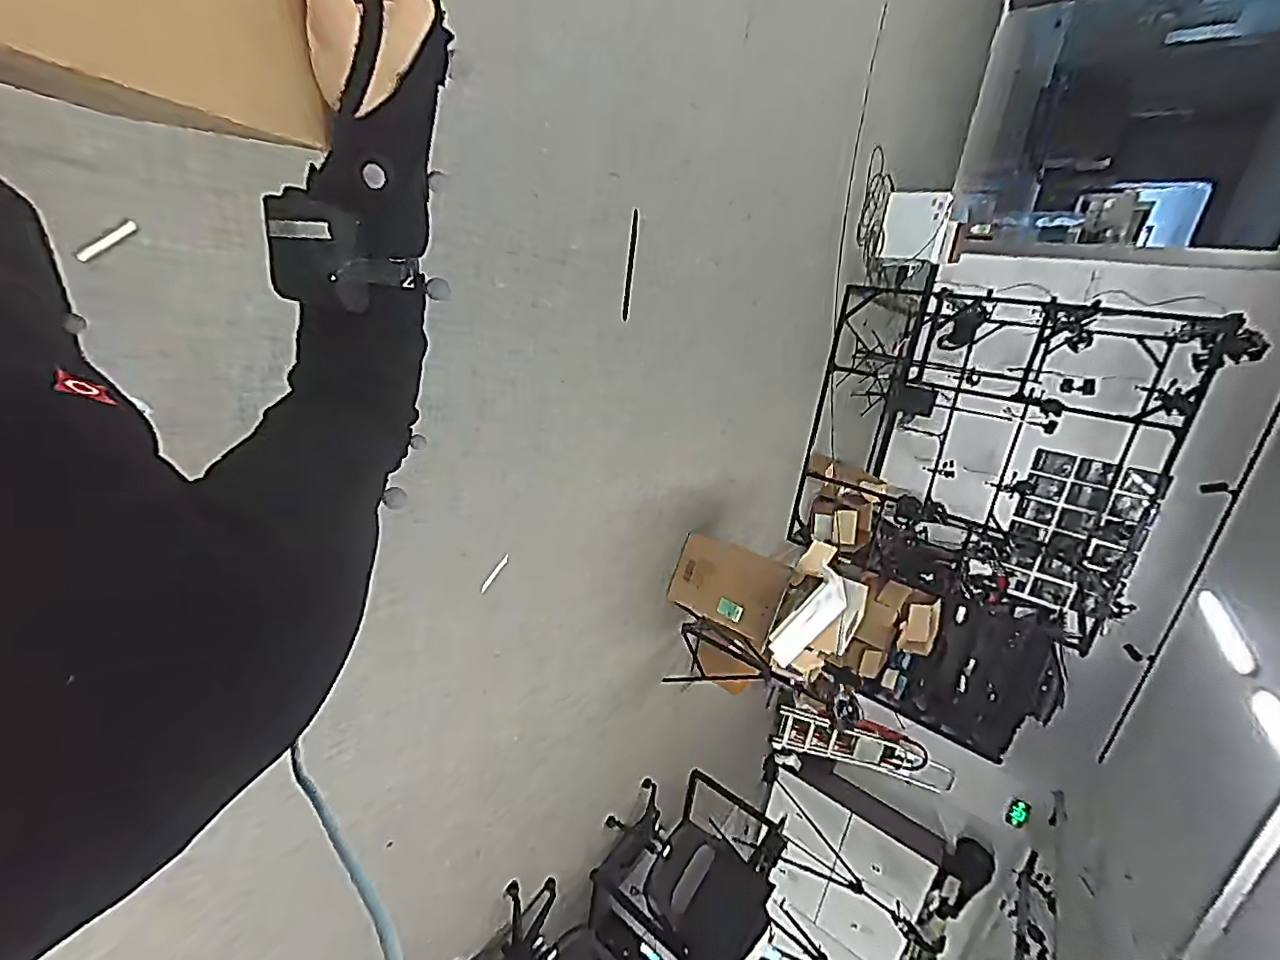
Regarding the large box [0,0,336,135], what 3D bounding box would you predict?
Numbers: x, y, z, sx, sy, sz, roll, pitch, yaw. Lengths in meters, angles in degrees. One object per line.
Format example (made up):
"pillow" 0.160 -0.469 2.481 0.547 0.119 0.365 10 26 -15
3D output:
"large box" -0.378 -0.358 0.173 0.408 0.320 0.320 -18 128 -55
